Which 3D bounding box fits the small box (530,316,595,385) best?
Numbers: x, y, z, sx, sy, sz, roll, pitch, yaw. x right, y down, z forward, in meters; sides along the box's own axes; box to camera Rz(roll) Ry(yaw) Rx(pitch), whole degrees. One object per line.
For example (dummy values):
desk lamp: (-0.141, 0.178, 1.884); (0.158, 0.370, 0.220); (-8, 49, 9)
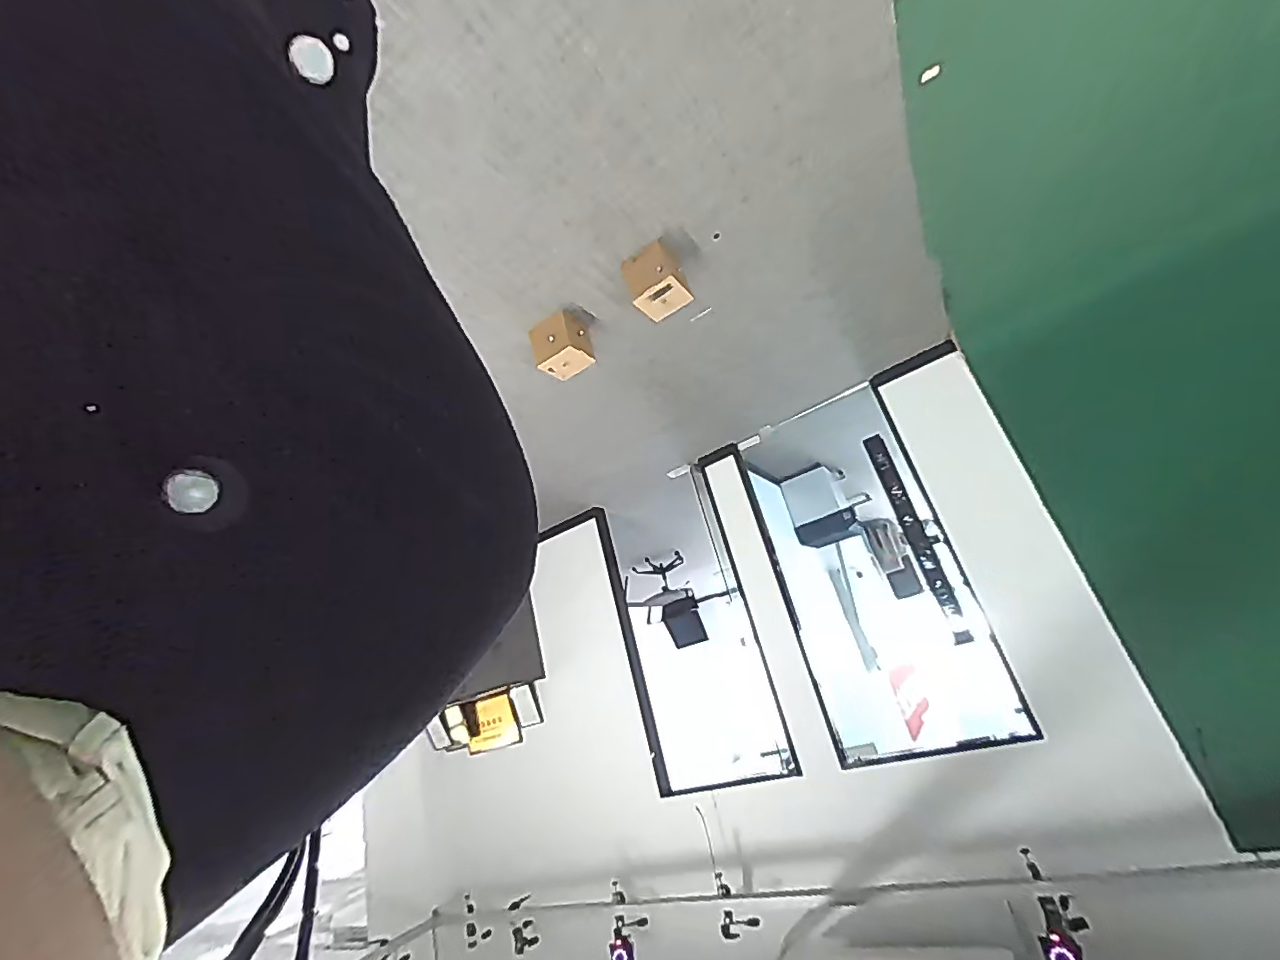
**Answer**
small box: (-0.305, -0.503, 2.102); (0.179, 0.176, 0.168); (-27, 157, 25)
